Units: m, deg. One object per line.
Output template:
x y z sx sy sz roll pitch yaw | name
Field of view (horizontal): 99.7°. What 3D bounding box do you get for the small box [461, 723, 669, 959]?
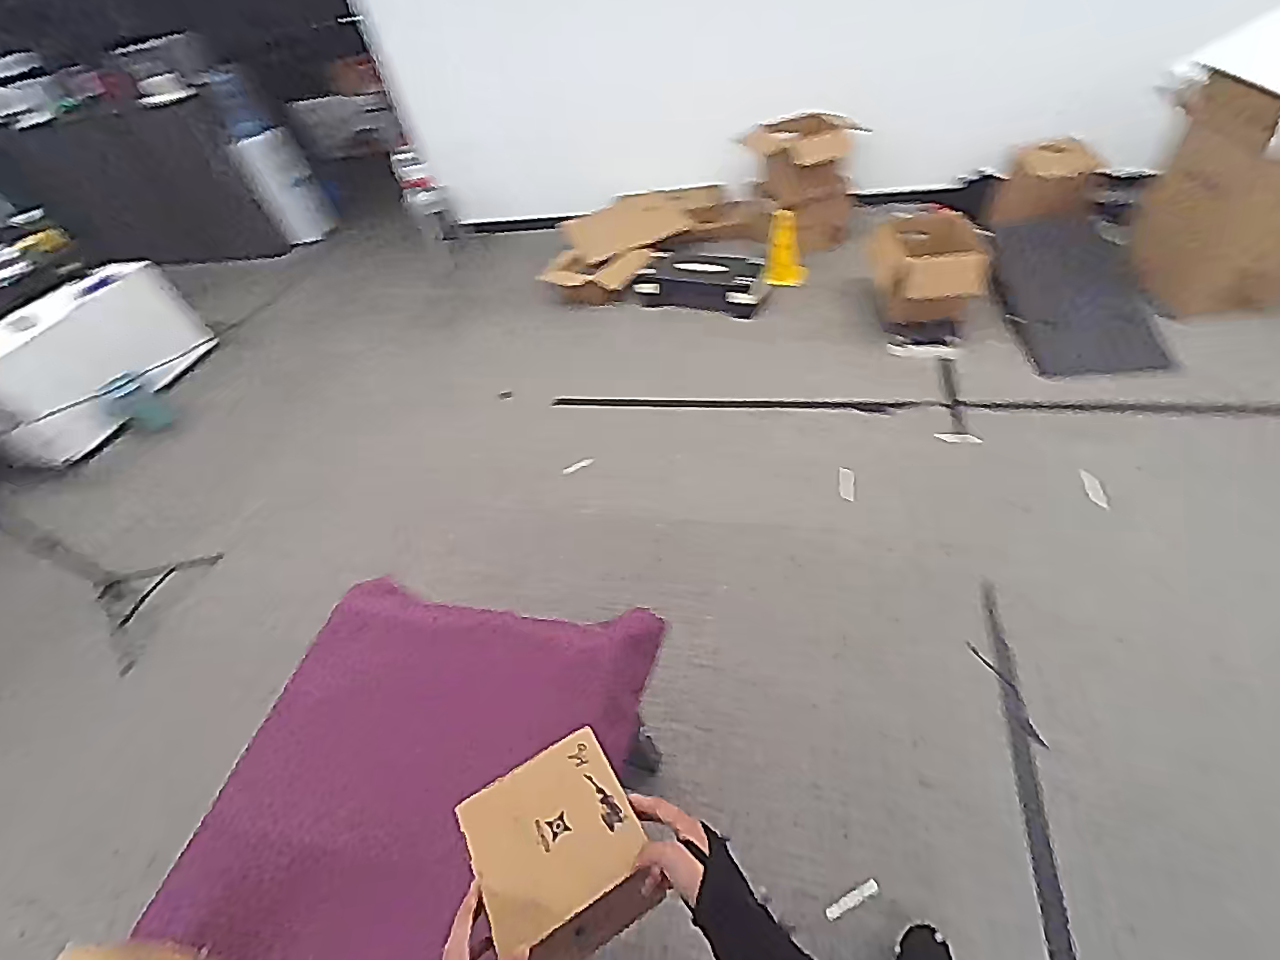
-0.081 0.433 0.635 0.179 0.176 0.168 -25 44 -17 | small box
